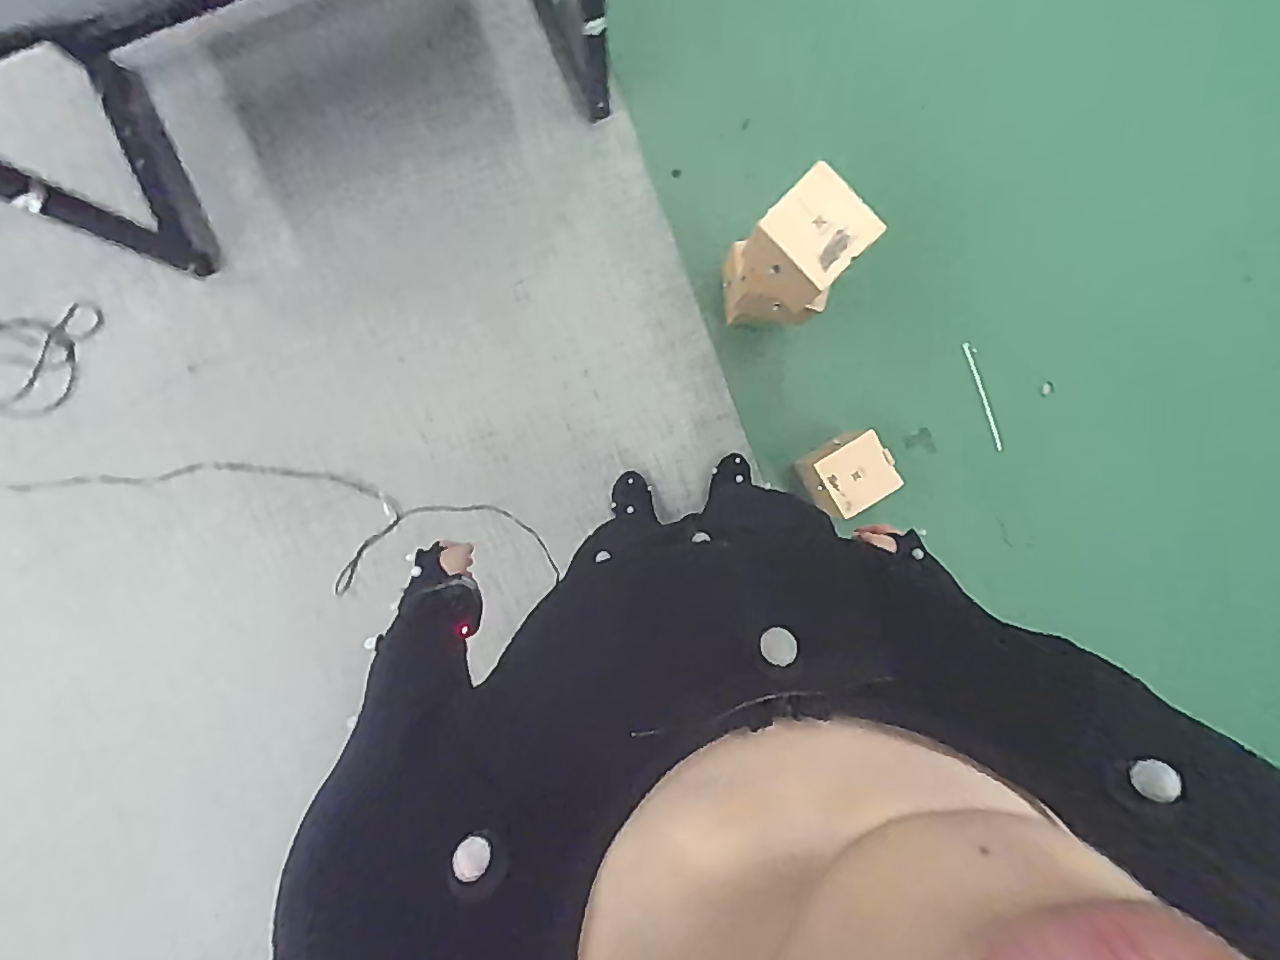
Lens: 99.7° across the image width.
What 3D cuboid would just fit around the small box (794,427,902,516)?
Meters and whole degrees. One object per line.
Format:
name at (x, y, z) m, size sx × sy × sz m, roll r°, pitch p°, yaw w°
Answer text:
small box at (0.535, -0.027, 1.412) m, size 0.179 × 0.176 × 0.168 m, roll -31°, pitch 95°, yaw 0°

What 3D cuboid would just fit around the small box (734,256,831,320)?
small box at (0.325, -0.472, 1.214) m, size 0.179 × 0.176 × 0.168 m, roll 16°, pitch 95°, yaw -3°

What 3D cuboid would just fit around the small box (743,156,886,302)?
small box at (0.327, -0.469, 1.050) m, size 0.168 × 0.176 × 0.179 m, roll -44°, pitch 93°, yaw 3°

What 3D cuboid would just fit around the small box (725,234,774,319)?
small box at (0.315, -0.514, 1.374) m, size 0.179 × 0.176 × 0.168 m, roll -5°, pitch 94°, yaw -1°
